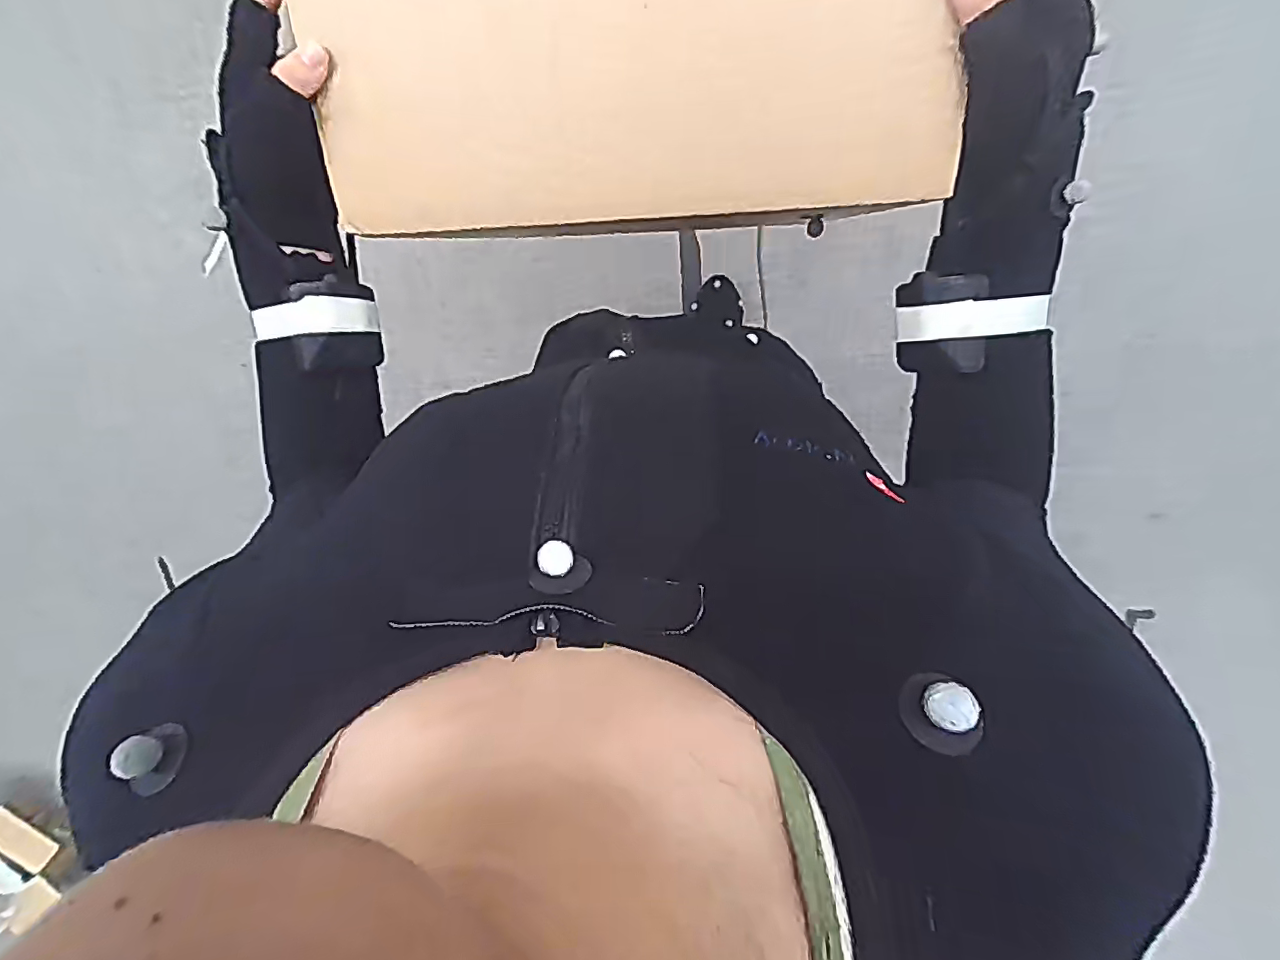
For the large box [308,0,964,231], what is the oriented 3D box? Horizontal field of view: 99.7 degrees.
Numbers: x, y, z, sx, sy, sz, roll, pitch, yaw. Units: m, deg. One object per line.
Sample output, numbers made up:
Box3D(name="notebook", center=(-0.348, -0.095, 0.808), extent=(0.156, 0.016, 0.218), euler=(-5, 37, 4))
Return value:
Box3D(name="large box", center=(0.003, -0.387, 0.444), extent=(0.408, 0.320, 0.320), euler=(0, 113, 7))
